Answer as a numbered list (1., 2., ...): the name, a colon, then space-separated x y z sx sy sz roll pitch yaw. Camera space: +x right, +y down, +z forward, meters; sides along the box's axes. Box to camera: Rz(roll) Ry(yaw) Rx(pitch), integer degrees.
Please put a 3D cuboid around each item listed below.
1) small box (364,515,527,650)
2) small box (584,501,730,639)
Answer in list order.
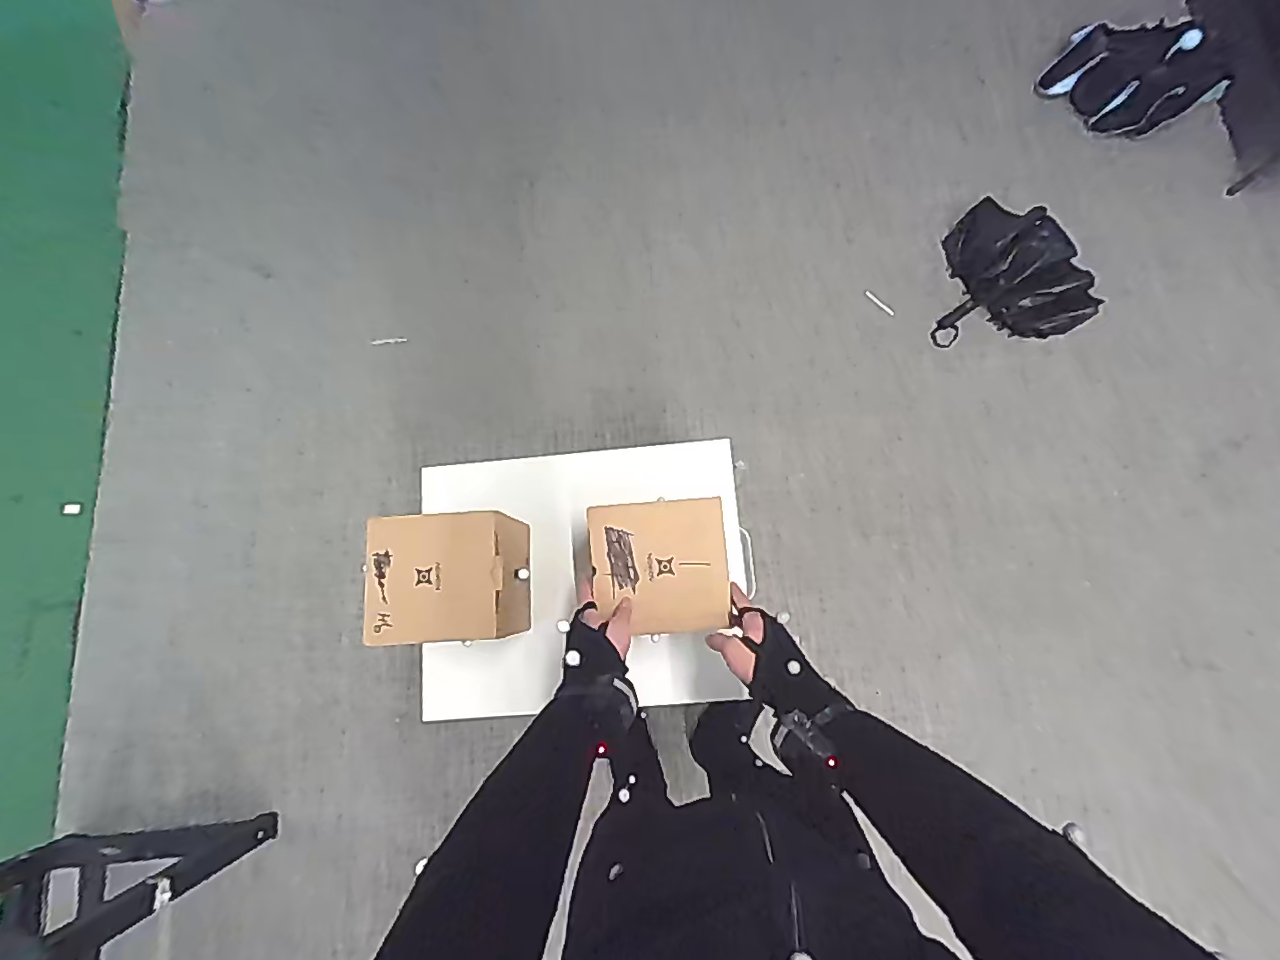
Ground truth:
1. small box: -0.262 0.143 0.767 0.179 0.176 0.168 -4 79 2
2. small box: 0.025 0.126 0.747 0.179 0.176 0.168 -4 79 3
